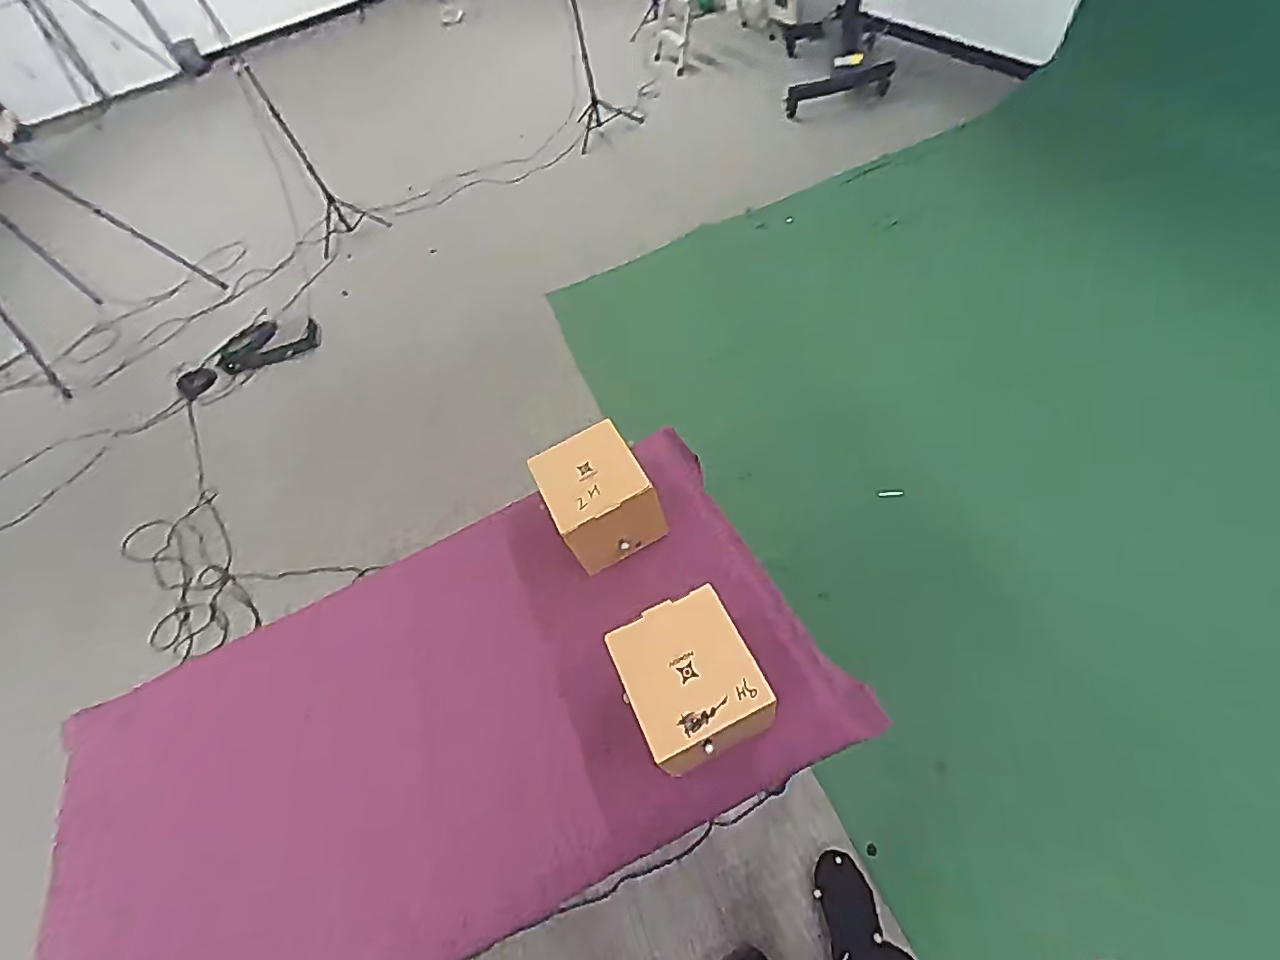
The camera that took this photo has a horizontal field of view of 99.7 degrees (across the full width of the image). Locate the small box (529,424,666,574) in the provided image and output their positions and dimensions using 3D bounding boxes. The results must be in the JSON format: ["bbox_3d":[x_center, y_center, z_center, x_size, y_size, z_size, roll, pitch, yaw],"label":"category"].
[{"bbox_3d":[-0.072,0.039,0.975,0.168,0.176,0.179,-29,56,-4],"label":"small box"}]

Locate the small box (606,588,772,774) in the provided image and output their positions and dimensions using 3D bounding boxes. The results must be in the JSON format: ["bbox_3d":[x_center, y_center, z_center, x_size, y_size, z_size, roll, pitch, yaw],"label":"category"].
[{"bbox_3d":[0.072,0.290,0.770,0.168,0.176,0.179,-26,55,-4],"label":"small box"}]
